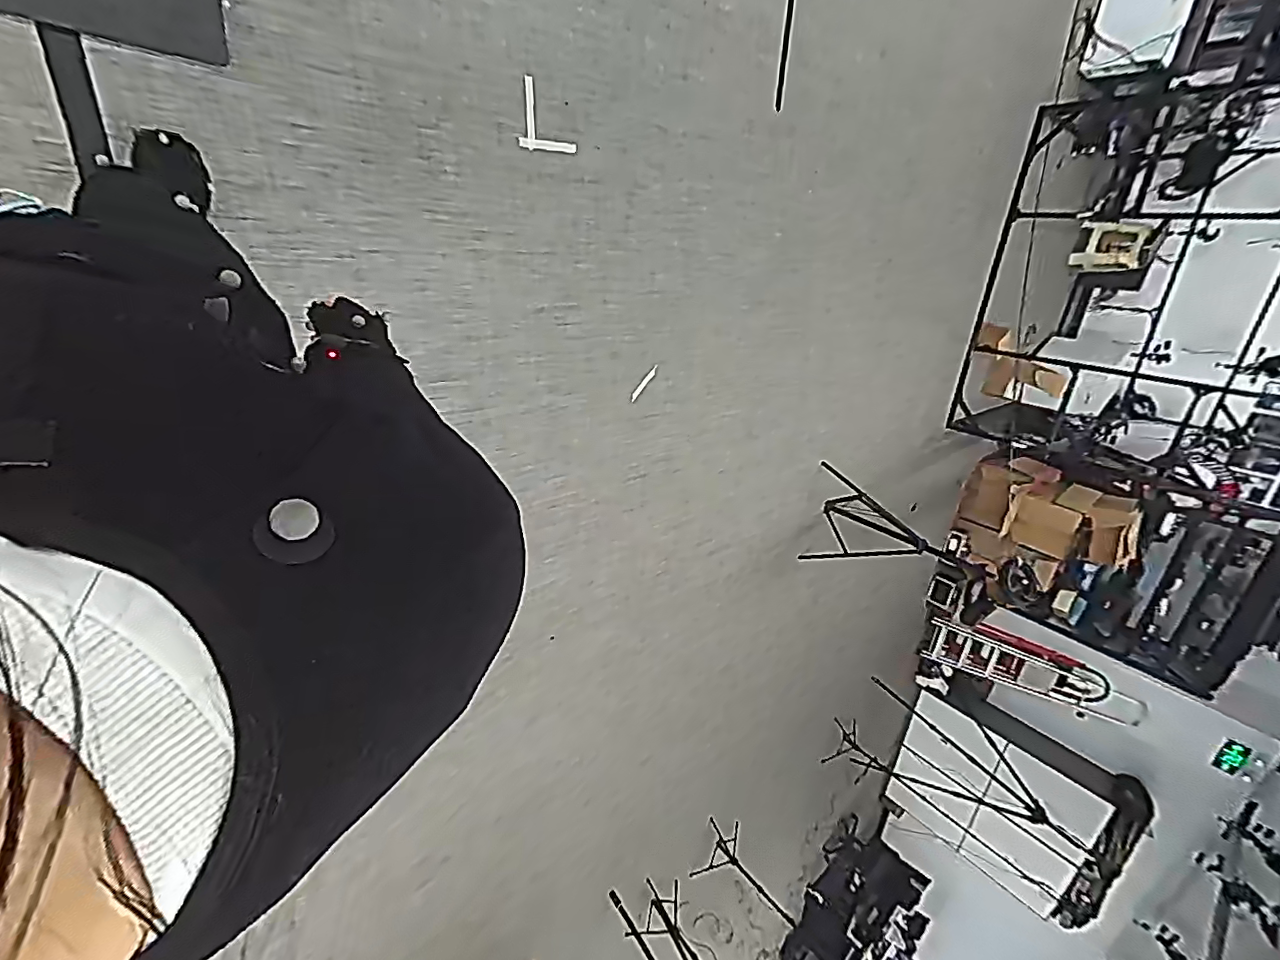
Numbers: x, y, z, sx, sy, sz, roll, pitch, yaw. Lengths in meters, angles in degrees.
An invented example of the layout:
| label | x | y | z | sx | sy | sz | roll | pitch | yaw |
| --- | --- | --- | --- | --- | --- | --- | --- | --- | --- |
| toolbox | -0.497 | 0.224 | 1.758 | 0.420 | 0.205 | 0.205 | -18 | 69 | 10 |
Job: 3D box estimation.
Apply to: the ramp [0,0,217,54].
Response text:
| label | x | y | z | sx | sy | sz | roll | pitch | yaw |
| --- | --- | --- | --- | --- | --- | --- | --- | --- | --- |
| ramp | -0.855 | -1.157 | 0.603 | 0.509 | 0.206 | 0.991 | -16 | 121 | -39 |
